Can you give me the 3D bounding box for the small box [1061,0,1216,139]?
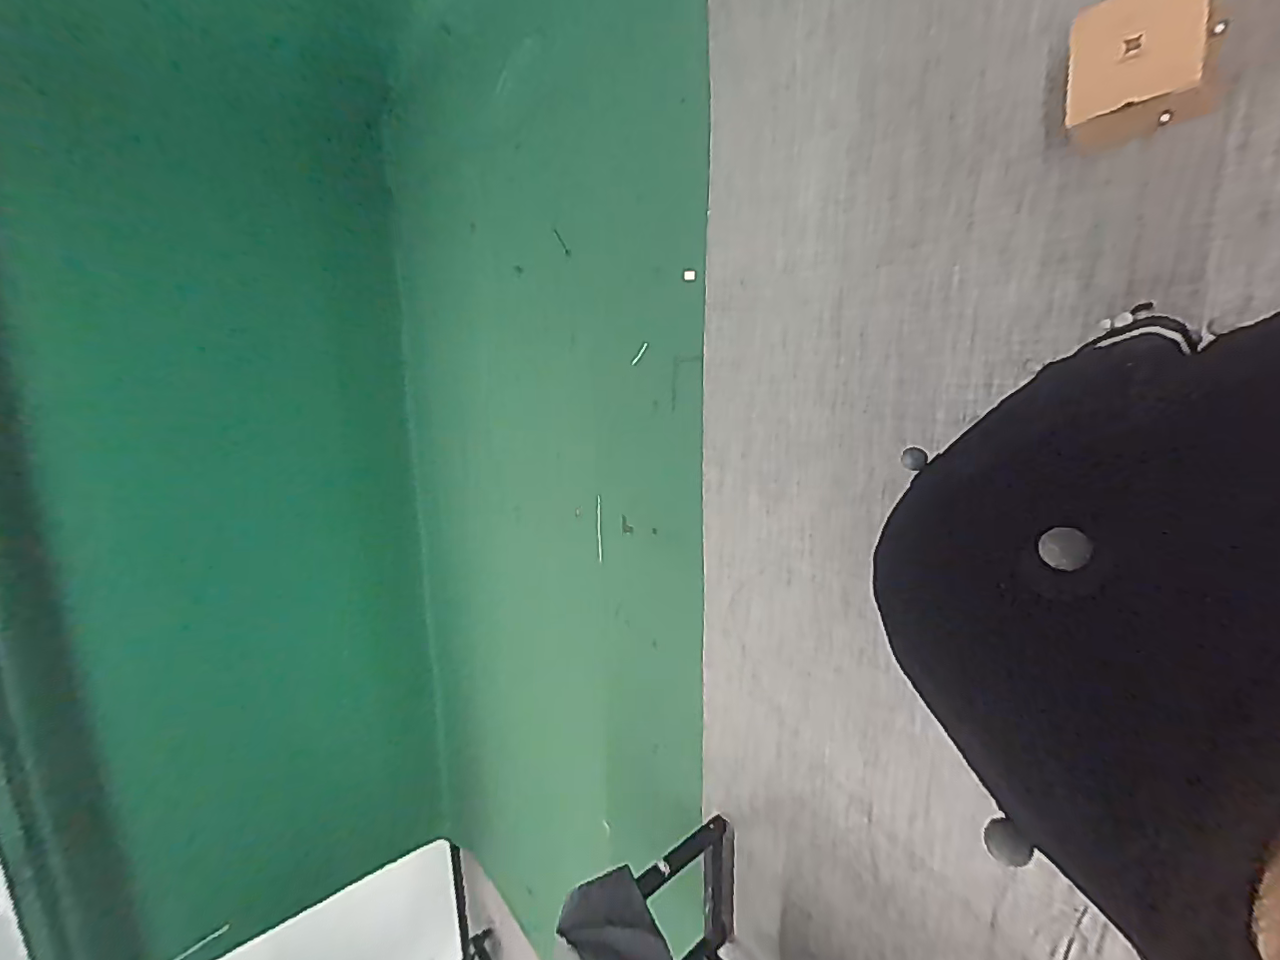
[{"bbox_3d":[0.823,-0.694,0.893,0.168,0.176,0.179,6,103,49],"label":"small box"}]
